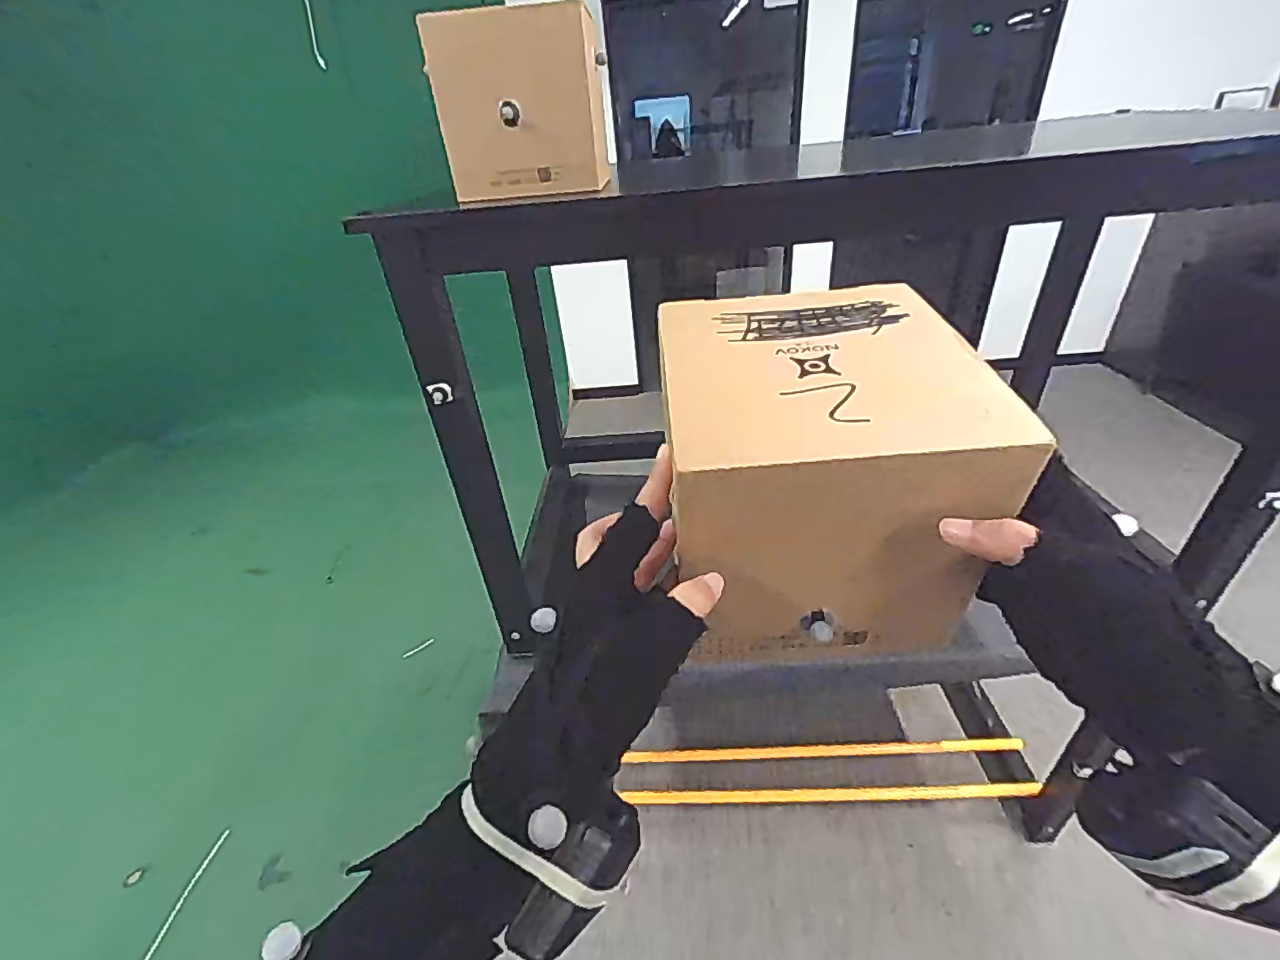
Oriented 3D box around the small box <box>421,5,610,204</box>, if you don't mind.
[{"bbox_3d":[-0.128,-0.431,0.643,0.168,0.176,0.179,-3,33,3],"label":"small box"}]
